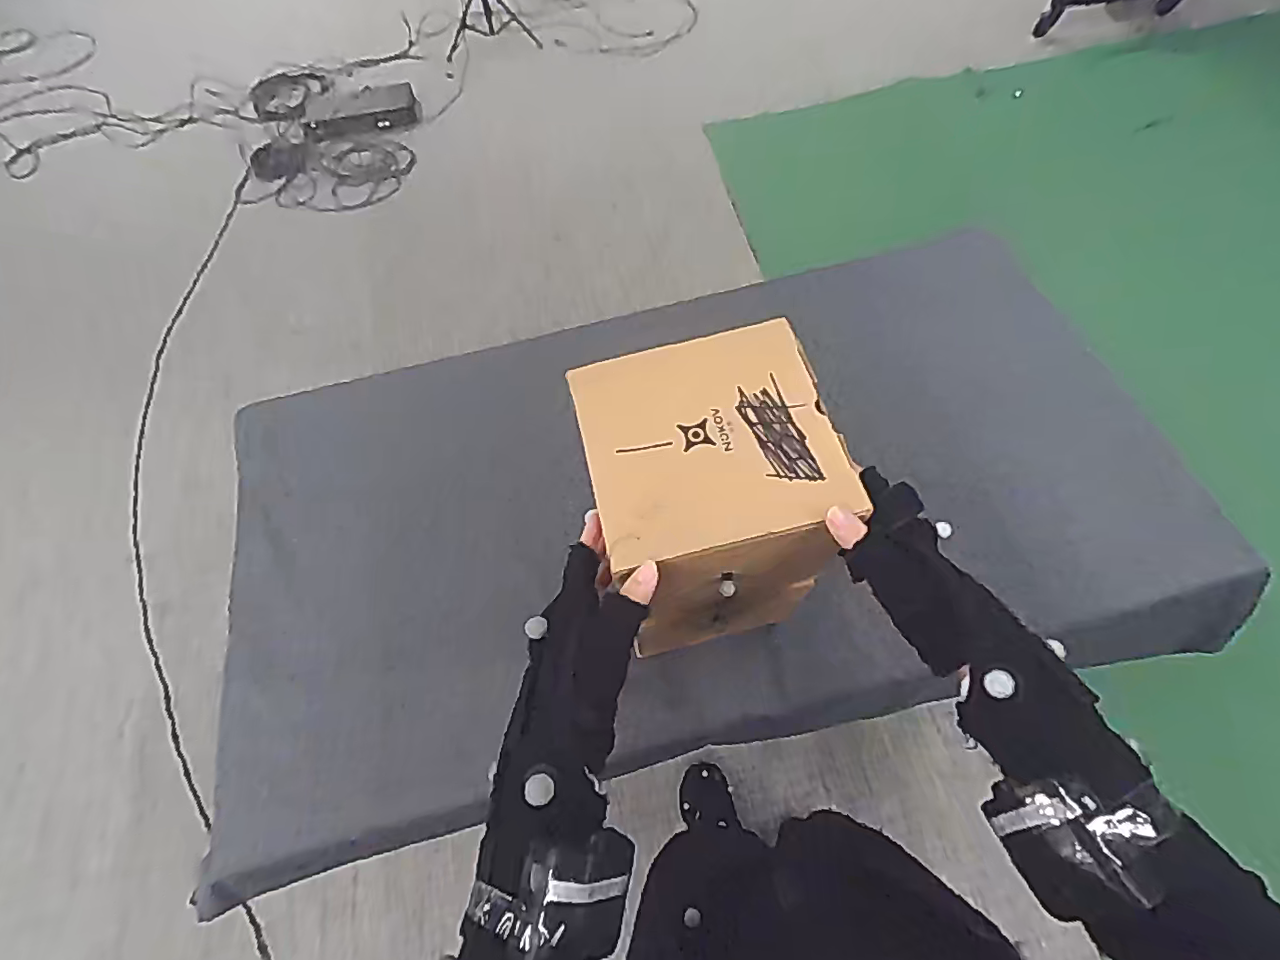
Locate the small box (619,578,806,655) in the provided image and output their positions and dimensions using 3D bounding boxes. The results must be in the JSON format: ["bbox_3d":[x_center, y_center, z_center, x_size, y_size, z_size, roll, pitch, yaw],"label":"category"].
[{"bbox_3d":[0.057,0.084,0.599,0.179,0.176,0.168,-13,65,-5],"label":"small box"}]

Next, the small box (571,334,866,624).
[{"bbox_3d":[0.051,0.010,0.452,0.179,0.176,0.168,-13,65,-2],"label":"small box"}]
